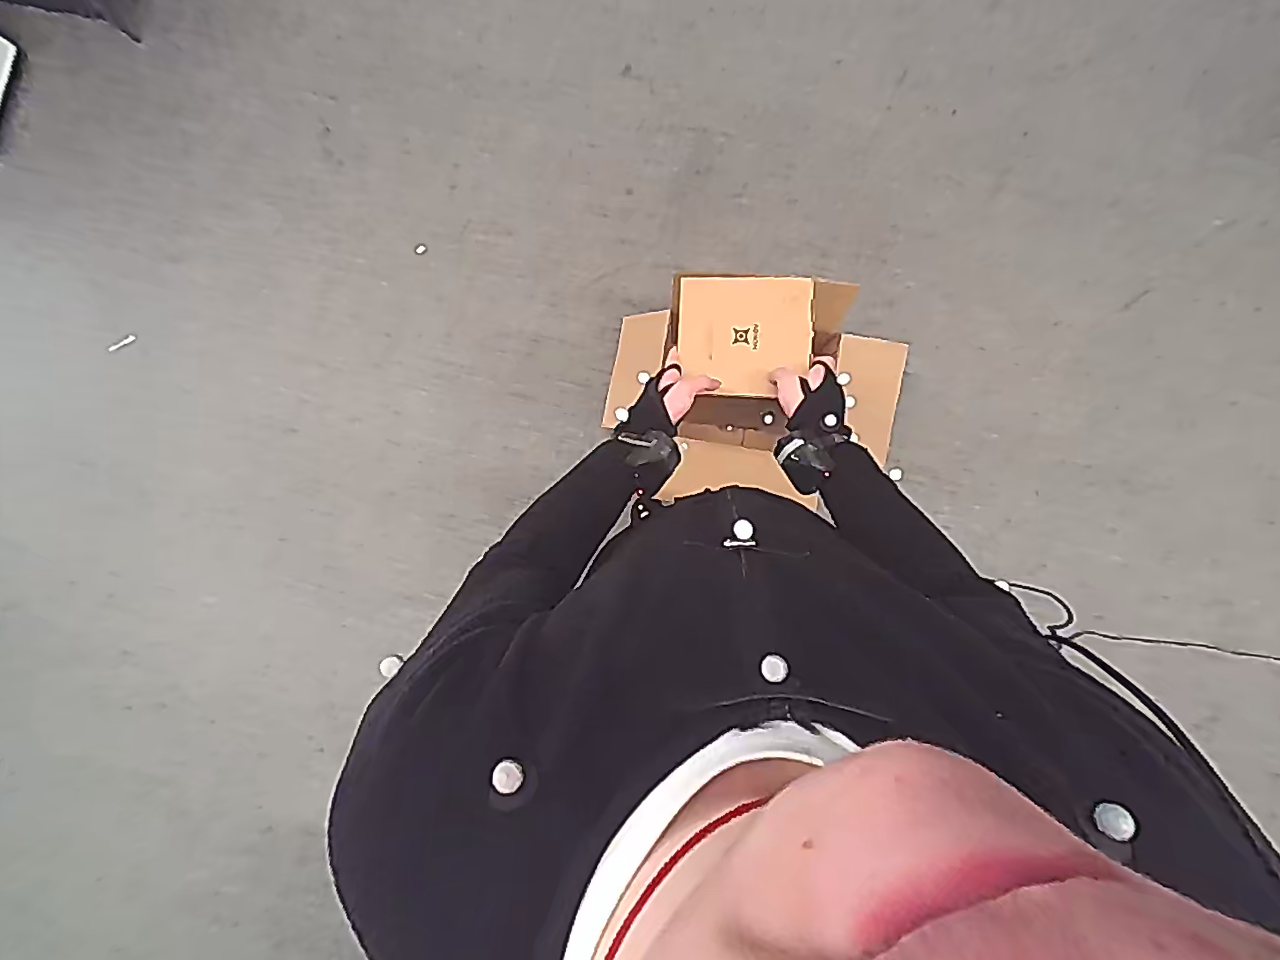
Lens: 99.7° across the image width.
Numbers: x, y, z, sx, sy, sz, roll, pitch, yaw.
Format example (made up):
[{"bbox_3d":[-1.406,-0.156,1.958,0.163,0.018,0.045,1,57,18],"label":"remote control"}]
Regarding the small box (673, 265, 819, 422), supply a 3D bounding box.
[{"bbox_3d":[0.146,-0.185,0.771,0.179,0.176,0.168,4,81,9],"label":"small box"}]
